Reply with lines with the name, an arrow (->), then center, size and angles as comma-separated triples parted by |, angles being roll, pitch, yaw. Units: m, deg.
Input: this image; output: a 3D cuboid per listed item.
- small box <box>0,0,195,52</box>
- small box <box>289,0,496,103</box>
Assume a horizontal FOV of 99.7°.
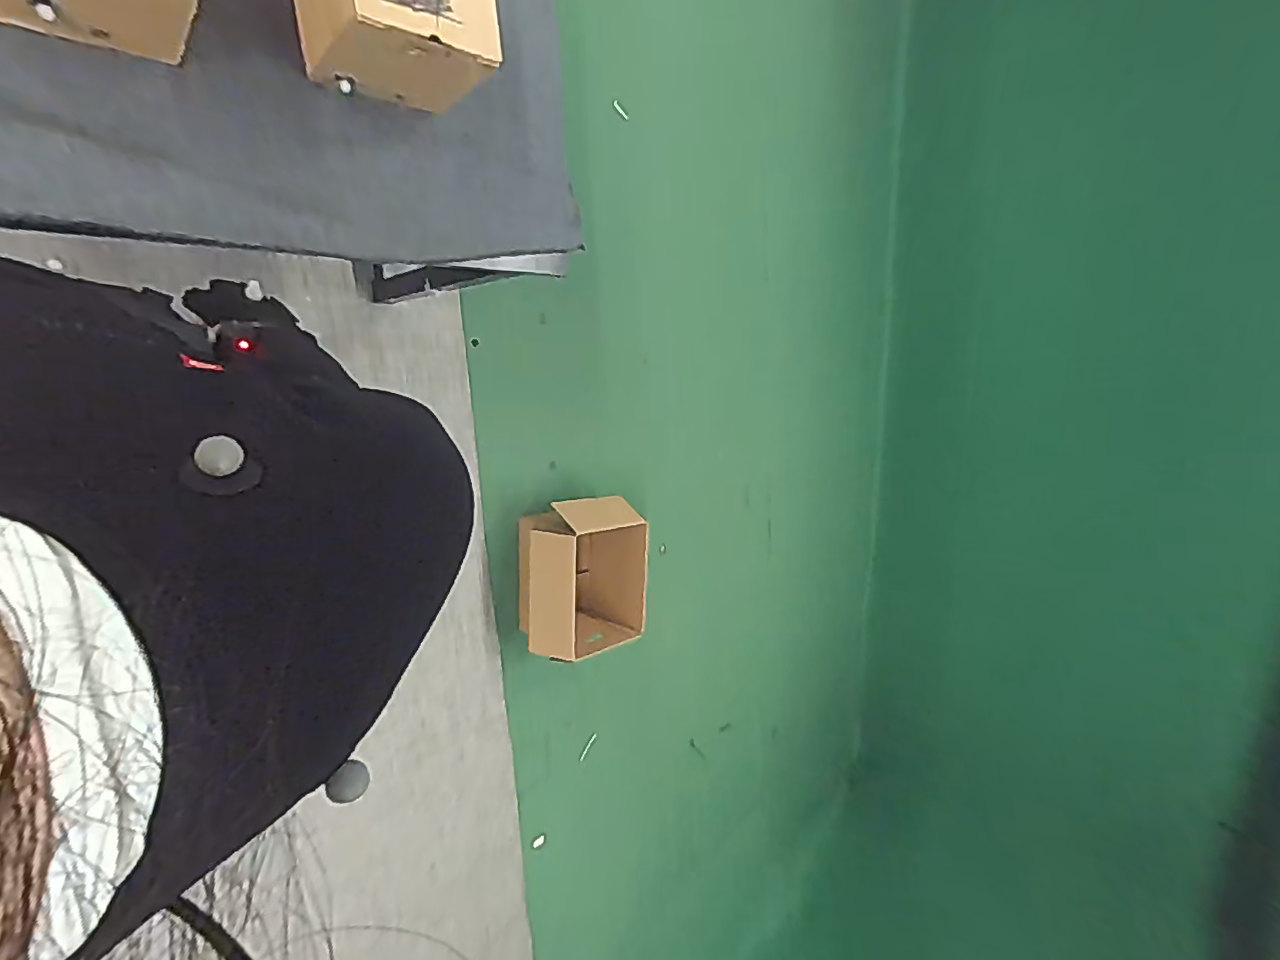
small box -> -0.484, -0.491, 0.426 | 0.168, 0.176, 0.179 | -18, 112, -44
small box -> -0.287, -0.567, 0.615 | 0.168, 0.176, 0.179 | -18, 110, -43
